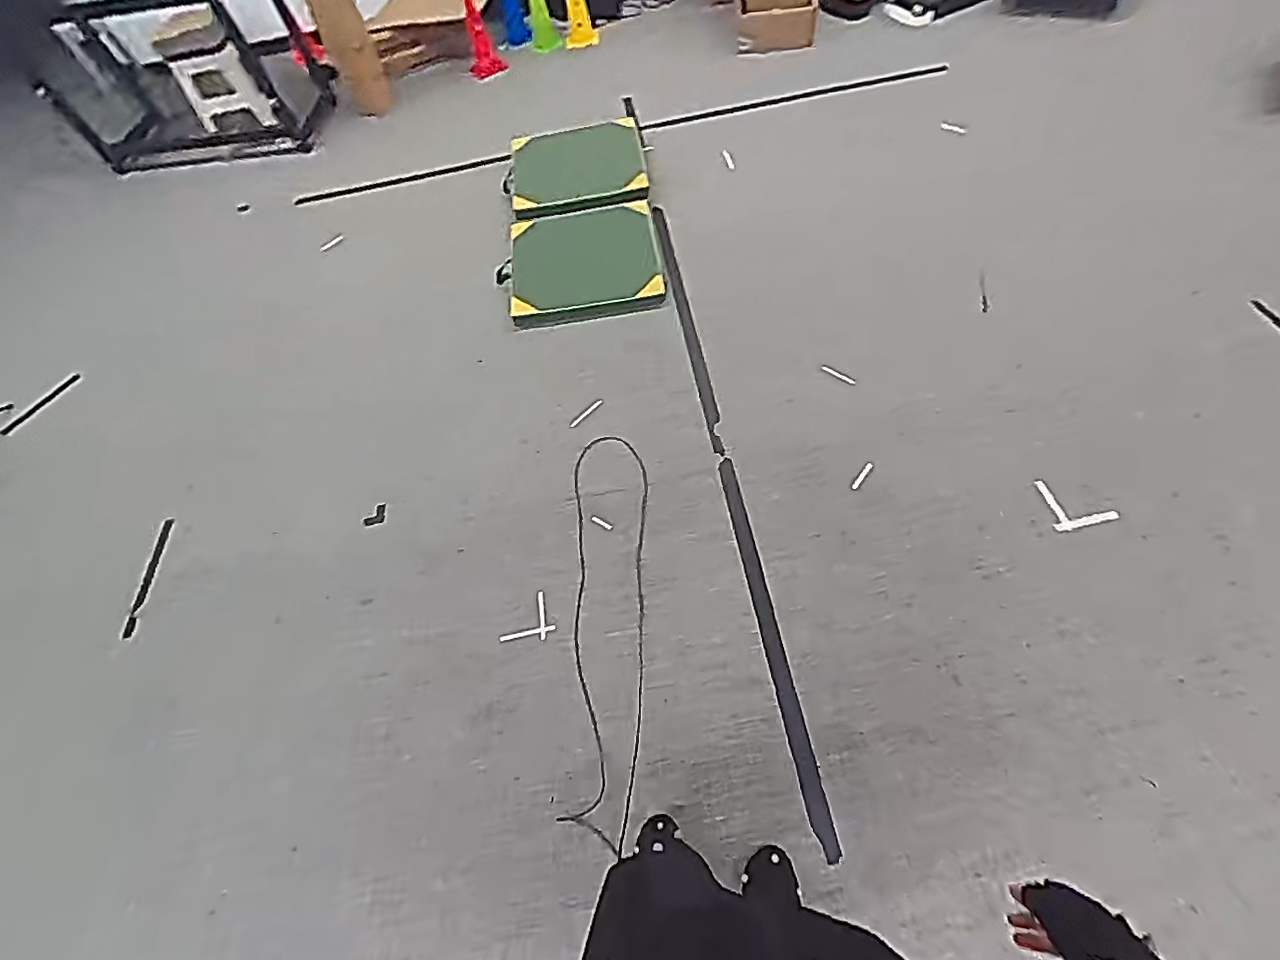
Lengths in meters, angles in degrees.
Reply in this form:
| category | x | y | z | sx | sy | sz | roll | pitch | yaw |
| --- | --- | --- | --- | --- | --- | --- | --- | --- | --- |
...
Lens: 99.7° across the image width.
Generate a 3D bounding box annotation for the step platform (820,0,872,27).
| category | x | y | z | sx | sy | sz | roll | pitch | yaw |
| --- | --- | --- | --- | --- | --- | --- | --- | --- | --- |
| step platform | 1.379 | -2.884 | 3.124 | 0.684 | 0.204 | 0.286 | -36 | 62 | -13 |
